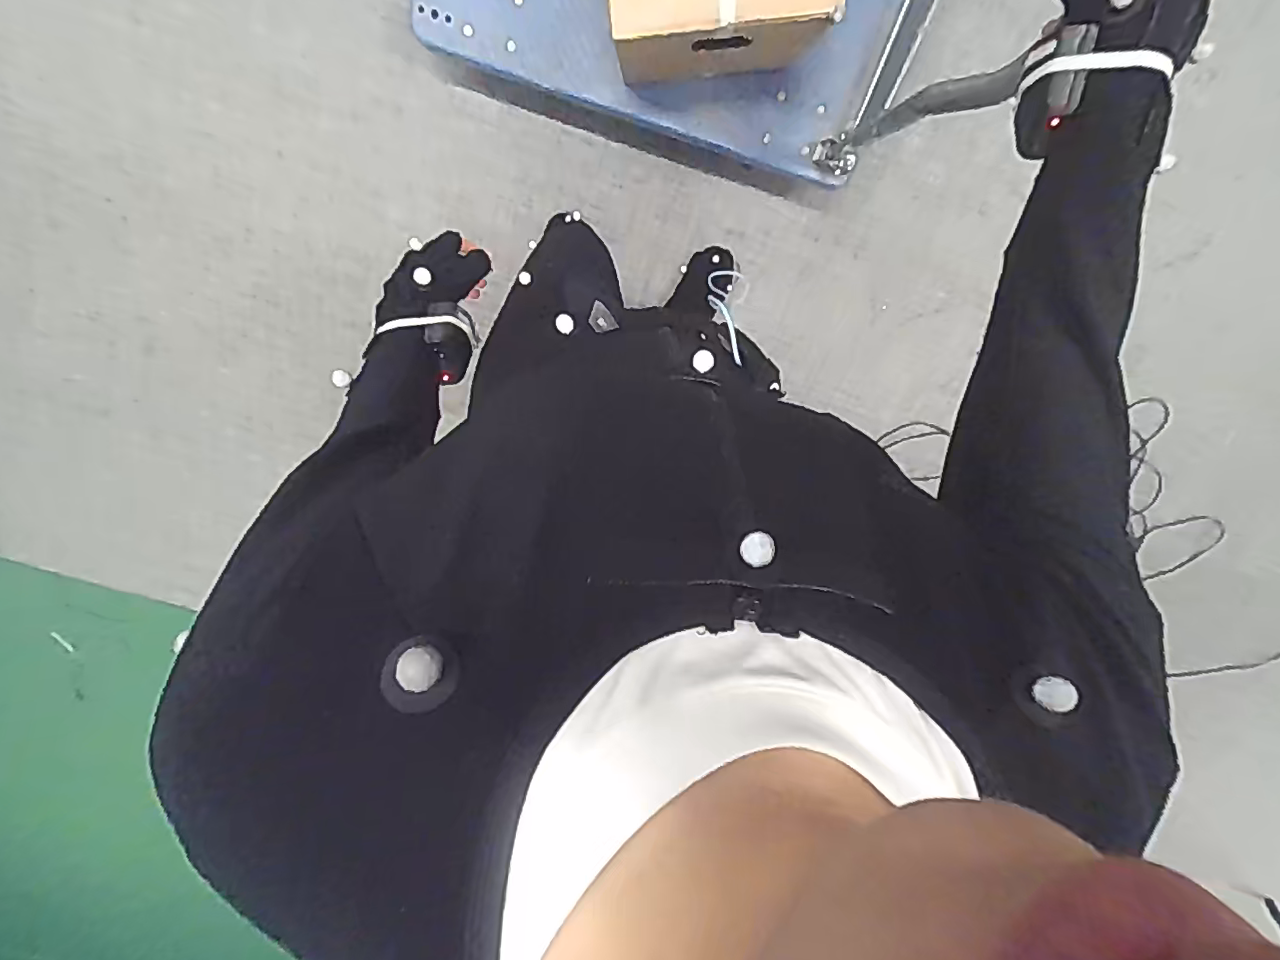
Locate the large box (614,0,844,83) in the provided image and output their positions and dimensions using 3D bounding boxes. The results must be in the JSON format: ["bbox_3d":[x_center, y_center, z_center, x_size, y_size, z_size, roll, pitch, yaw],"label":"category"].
[{"bbox_3d":[0.104,-0.859,0.780,0.320,0.320,0.408,-4,118,4],"label":"large box"}]
